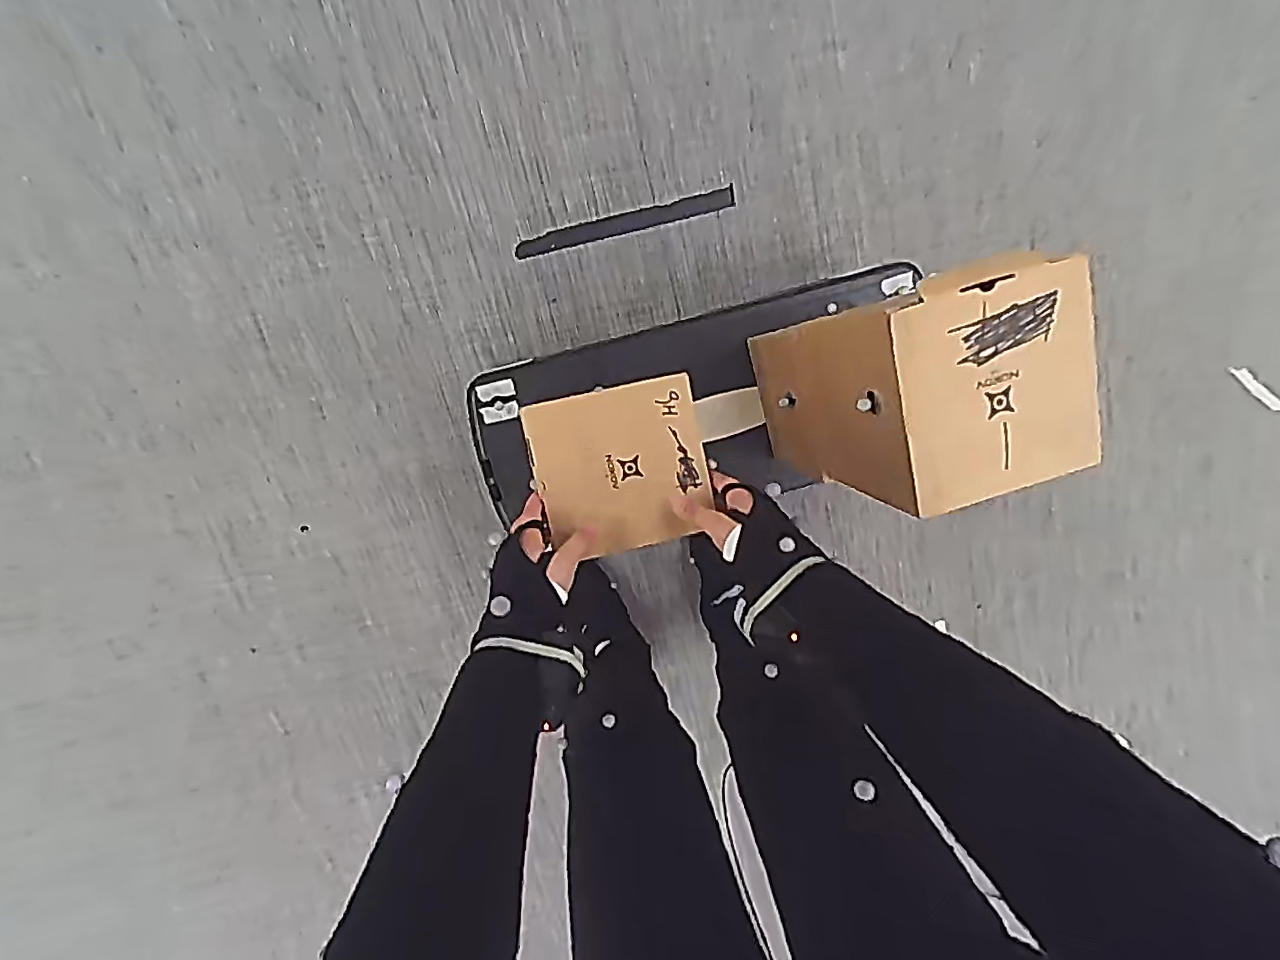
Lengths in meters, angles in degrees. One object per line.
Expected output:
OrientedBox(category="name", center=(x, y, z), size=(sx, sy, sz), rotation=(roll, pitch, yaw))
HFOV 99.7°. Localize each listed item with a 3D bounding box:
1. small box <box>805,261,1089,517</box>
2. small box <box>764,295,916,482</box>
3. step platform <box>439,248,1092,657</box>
OrientedBox(category="small box", center=(0.277, -0.087, 0.520), size=(0.168, 0.176, 0.179), rotation=(-17, 104, -2))
OrientedBox(category="small box", center=(0.253, -0.116, 0.680), size=(0.168, 0.176, 0.179), rotation=(-17, 104, -2))
OrientedBox(category="step platform", center=(0.140, -0.038, 0.648), size=(0.684, 0.204, 0.286), rotation=(-16, 103, -3))
